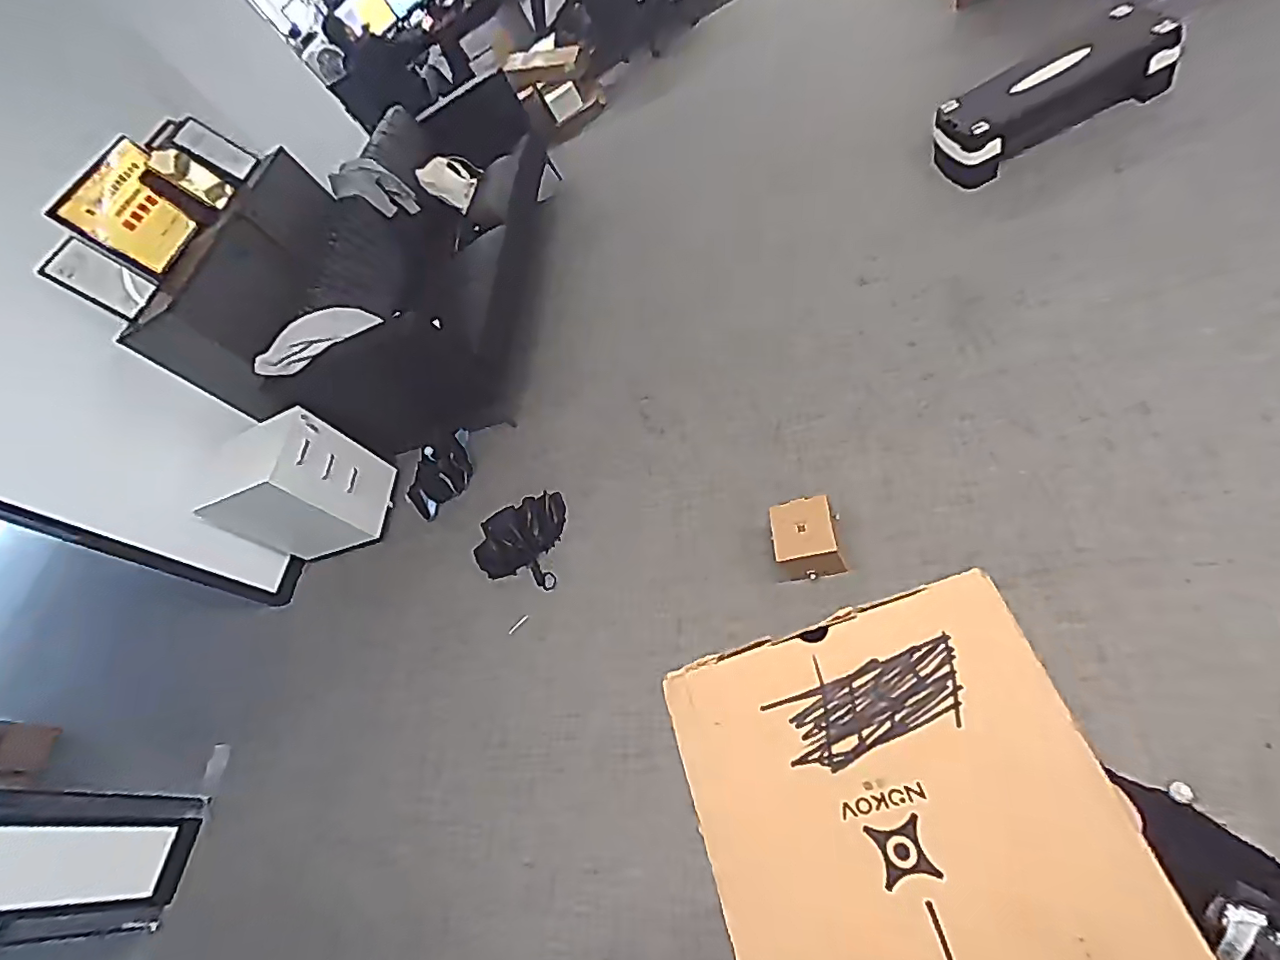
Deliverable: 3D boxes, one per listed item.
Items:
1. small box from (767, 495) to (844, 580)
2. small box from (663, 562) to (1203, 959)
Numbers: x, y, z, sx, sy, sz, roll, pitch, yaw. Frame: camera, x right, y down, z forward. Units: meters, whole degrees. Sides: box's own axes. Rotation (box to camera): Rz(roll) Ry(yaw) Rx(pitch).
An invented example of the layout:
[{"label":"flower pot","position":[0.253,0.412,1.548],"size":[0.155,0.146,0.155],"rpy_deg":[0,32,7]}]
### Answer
[{"label":"small box","position":[0.480,0.171,1.566],"size":[0.168,0.176,0.179],"rpy_deg":[-16,55,23]},{"label":"small box","position":[0.132,0.171,0.303],"size":[0.168,0.176,0.179],"rpy_deg":[-23,62,11]}]
